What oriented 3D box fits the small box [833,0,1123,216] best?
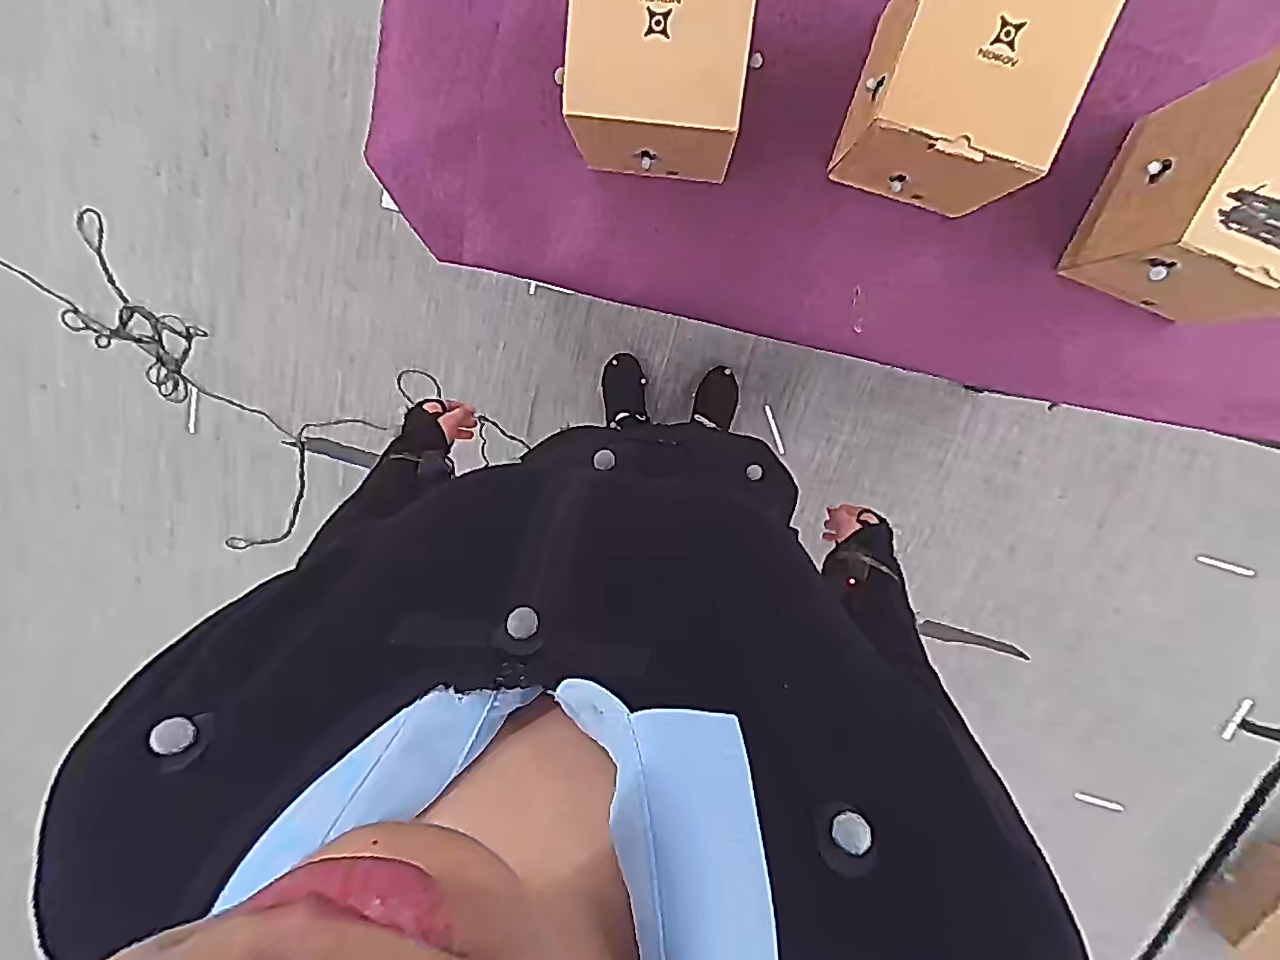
[{"bbox_3d":[0.319,-0.397,0.548,0.168,0.176,0.179,17,104,-1],"label":"small box"}]

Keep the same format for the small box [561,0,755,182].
[{"bbox_3d":[0.022,-0.428,0.556,0.168,0.176,0.179,7,104,1],"label":"small box"}]
